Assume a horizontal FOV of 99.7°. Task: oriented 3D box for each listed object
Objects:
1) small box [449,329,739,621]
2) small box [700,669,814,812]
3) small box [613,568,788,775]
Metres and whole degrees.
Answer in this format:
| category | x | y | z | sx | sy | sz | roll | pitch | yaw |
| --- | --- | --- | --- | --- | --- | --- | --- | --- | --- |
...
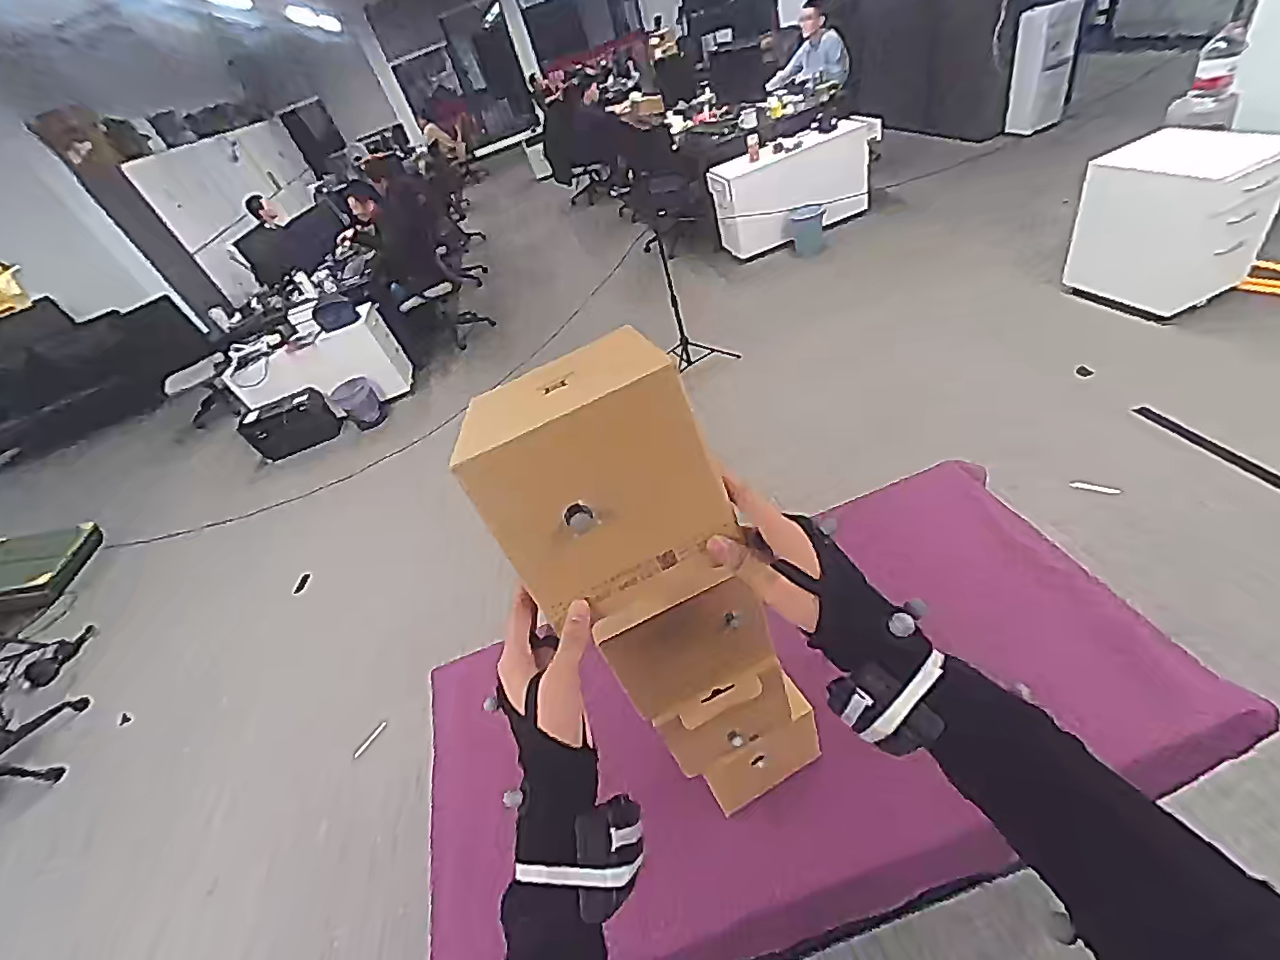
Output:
| category | x | y | z | sx | sy | sz | roll | pitch | yaw |
| --- | --- | --- | --- | --- | --- | --- | --- | --- | --- |
| small box | -0.036 | -0.005 | 0.461 | 0.168 | 0.176 | 0.179 | -26 | 25 | 0 |
| small box | 0.150 | 0.375 | 0.842 | 0.179 | 0.176 | 0.168 | -28 | 40 | -9 |
| small box | 0.083 | 0.262 | 0.741 | 0.168 | 0.176 | 0.179 | -26 | 40 | -4 |
